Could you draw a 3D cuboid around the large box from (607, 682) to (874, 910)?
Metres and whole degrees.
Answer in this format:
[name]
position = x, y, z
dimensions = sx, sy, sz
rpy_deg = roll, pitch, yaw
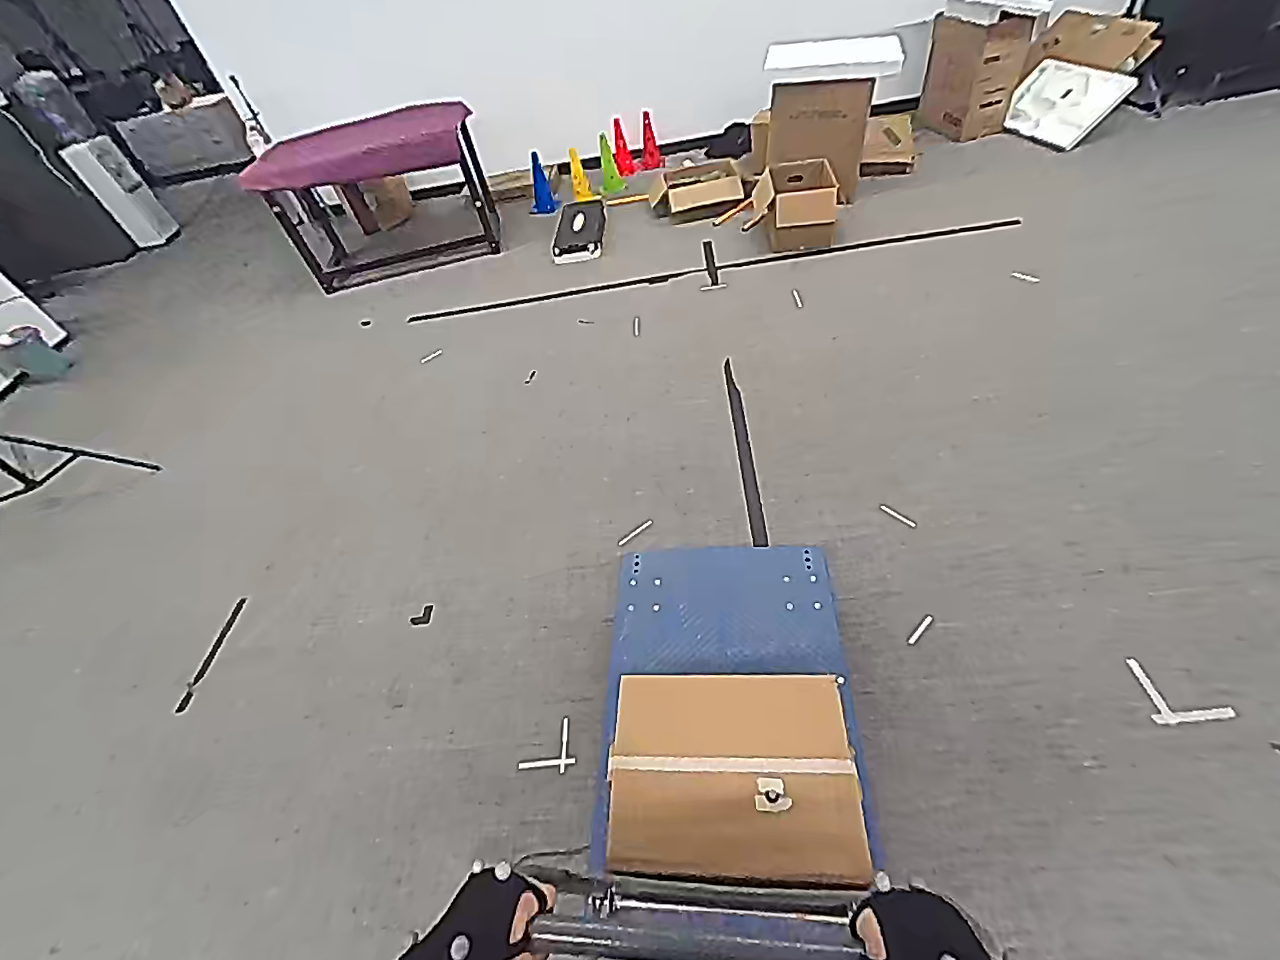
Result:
[large box]
position = 0.169, 0.592, 1.012
dimensions = 0.408, 0.320, 0.320
rpy_deg = -3, 48, 8
